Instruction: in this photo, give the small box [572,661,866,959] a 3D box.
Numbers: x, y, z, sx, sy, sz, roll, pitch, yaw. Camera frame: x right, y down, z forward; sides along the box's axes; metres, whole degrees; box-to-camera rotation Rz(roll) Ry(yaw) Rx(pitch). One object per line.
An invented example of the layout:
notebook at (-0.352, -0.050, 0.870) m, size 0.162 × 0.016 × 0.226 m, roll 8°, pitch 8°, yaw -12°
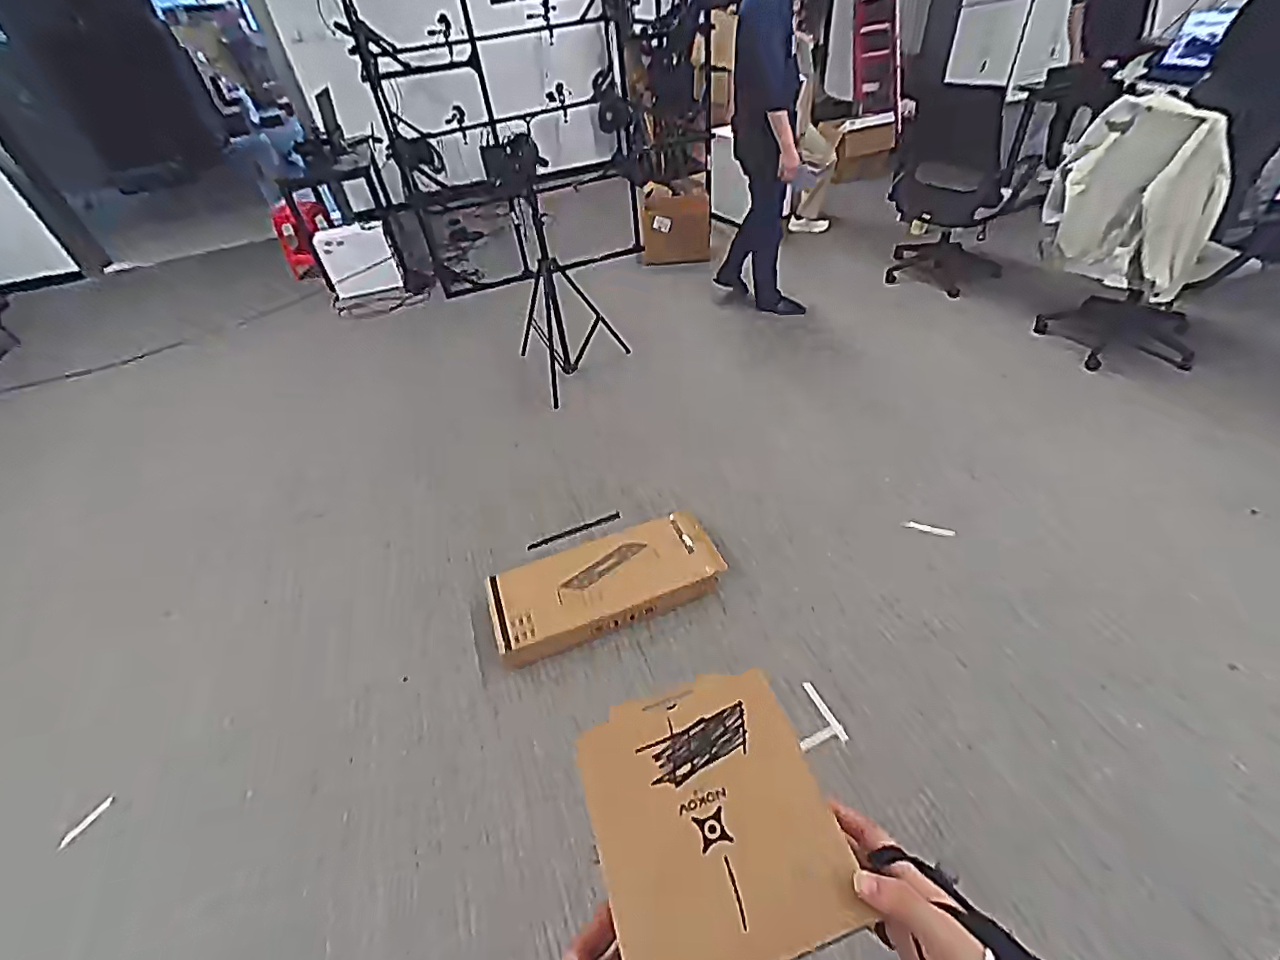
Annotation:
small box at (0.054, 0.288, 0.452) m, size 0.168 × 0.176 × 0.179 m, roll -18°, pitch 48°, yaw -6°
